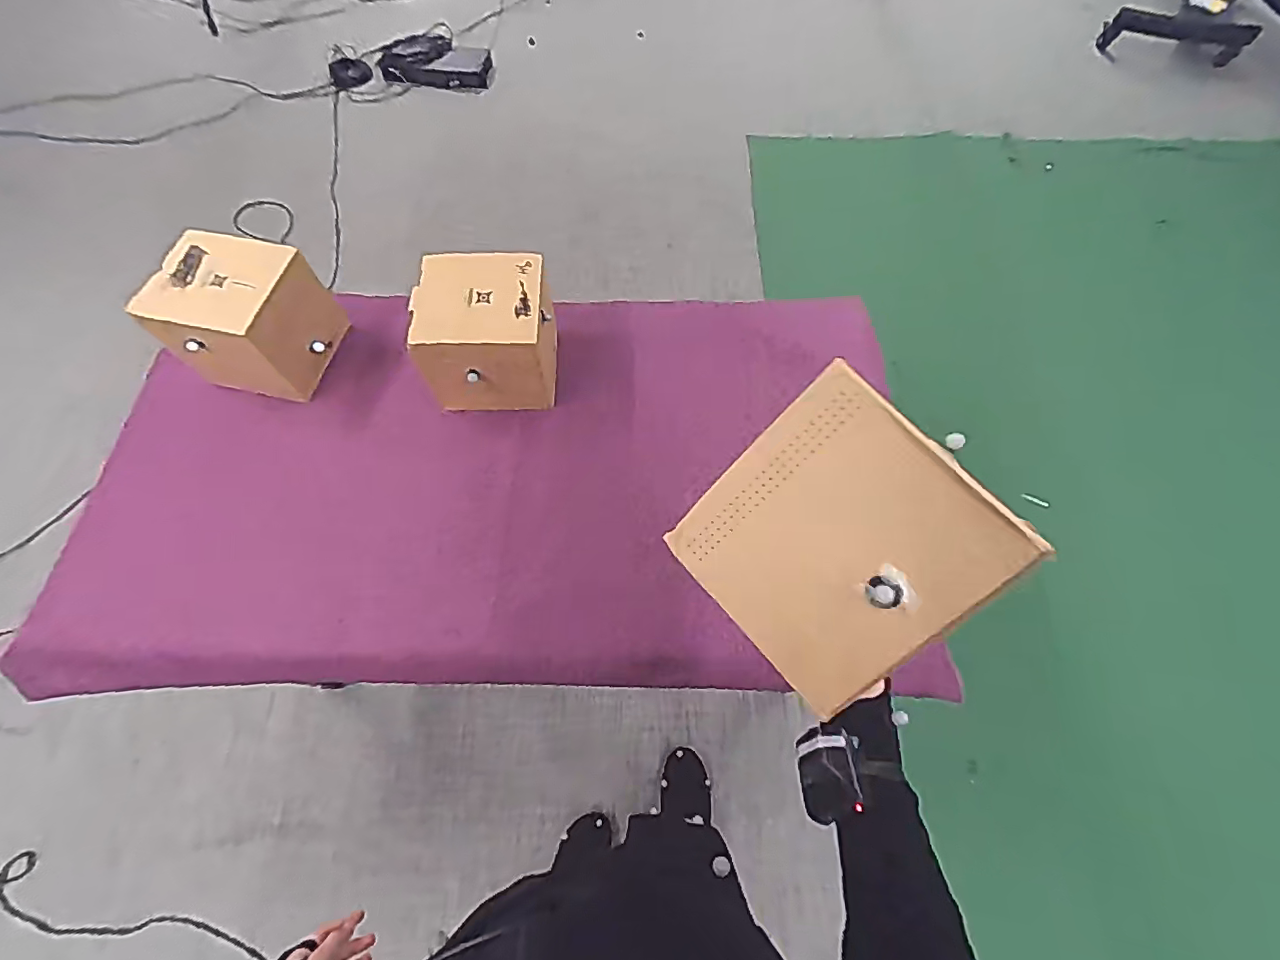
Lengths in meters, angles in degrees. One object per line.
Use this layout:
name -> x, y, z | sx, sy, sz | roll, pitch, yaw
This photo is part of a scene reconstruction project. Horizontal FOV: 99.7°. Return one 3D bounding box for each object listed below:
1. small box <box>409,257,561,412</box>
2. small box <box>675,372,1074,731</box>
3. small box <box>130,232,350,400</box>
small box -> -0.222, -0.214, 0.824 | 0.179, 0.176, 0.168 | -1, 66, -1
small box -> 0.158, 0.039, 0.410 | 0.176, 0.168, 0.179 | 49, 111, 14
small box -> -0.591, -0.242, 0.828 | 0.179, 0.176, 0.168 | 11, 65, 3
